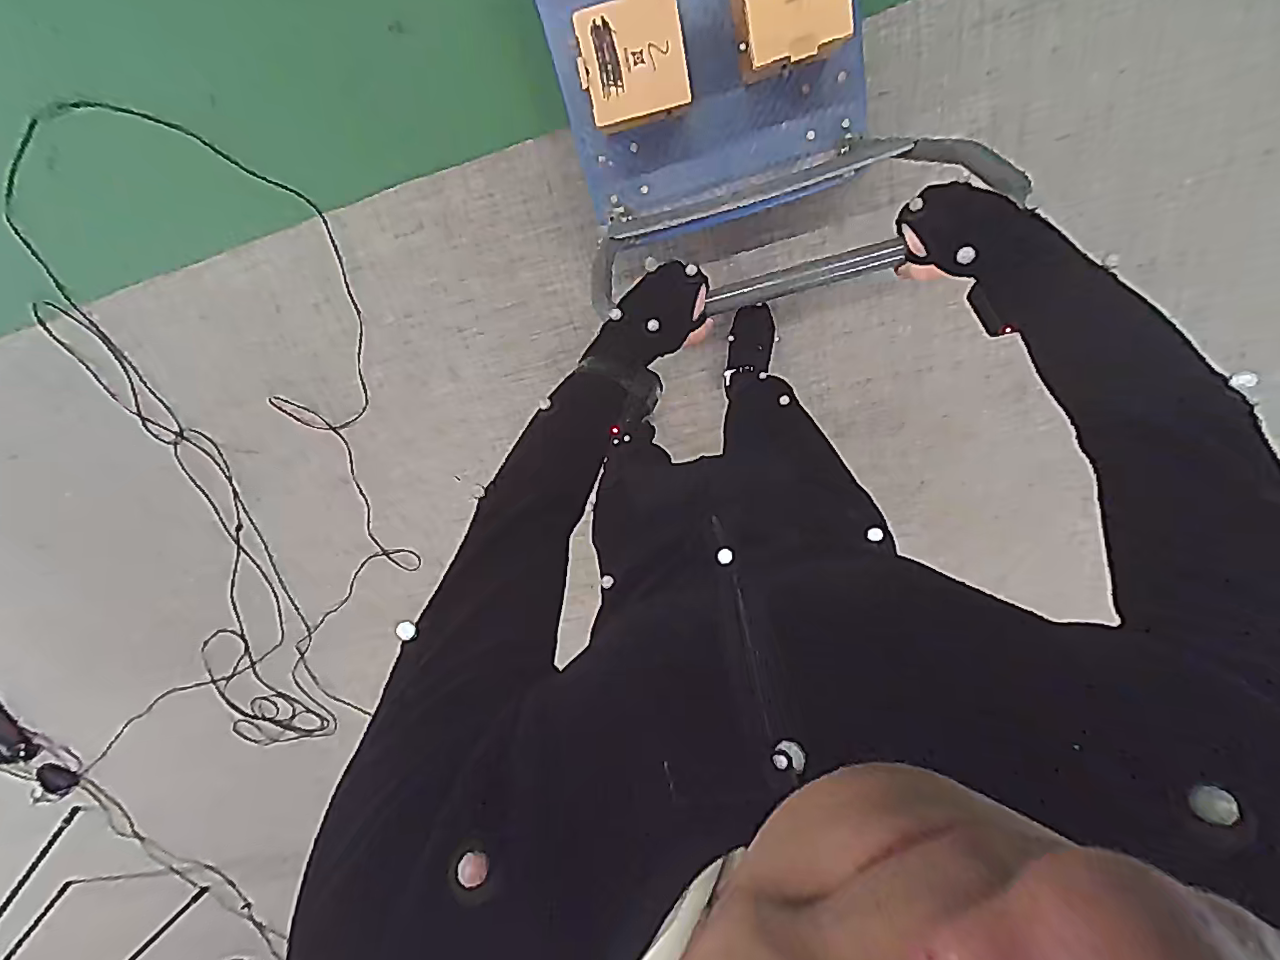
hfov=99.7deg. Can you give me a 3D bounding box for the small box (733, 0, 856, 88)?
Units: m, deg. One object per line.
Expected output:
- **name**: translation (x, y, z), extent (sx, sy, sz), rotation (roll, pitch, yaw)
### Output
- **small box**: translation (0.260, -0.818, 0.938), extent (0.168, 0.176, 0.179), rotation (-13, 118, 10)
